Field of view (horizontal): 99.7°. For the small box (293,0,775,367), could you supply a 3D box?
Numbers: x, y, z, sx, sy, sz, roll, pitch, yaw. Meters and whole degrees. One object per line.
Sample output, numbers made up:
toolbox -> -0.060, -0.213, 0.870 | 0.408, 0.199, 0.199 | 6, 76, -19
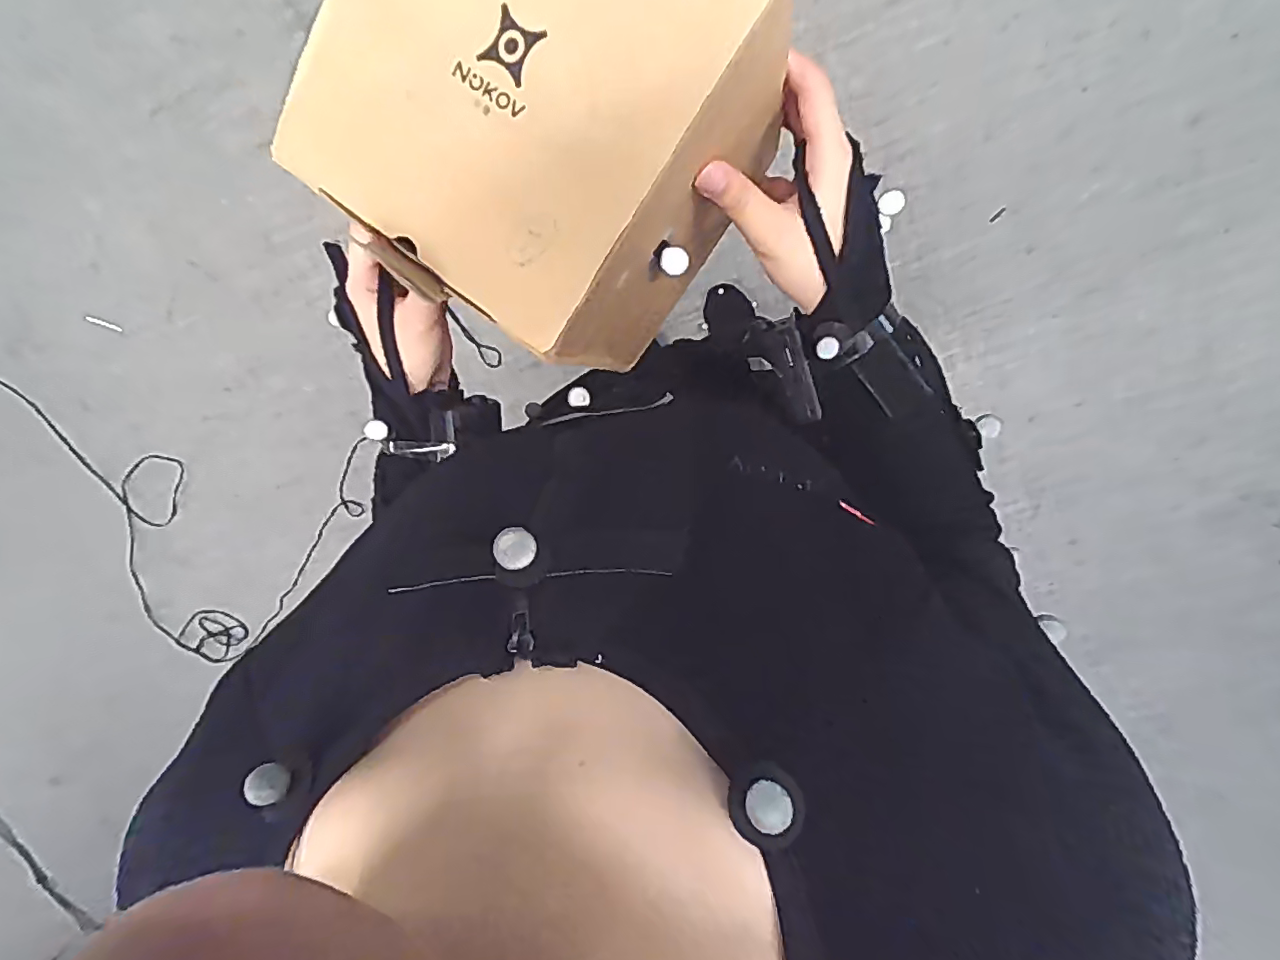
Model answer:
small box -> -0.040, -0.180, 0.310 | 0.168, 0.176, 0.179 | 36, 105, 4
